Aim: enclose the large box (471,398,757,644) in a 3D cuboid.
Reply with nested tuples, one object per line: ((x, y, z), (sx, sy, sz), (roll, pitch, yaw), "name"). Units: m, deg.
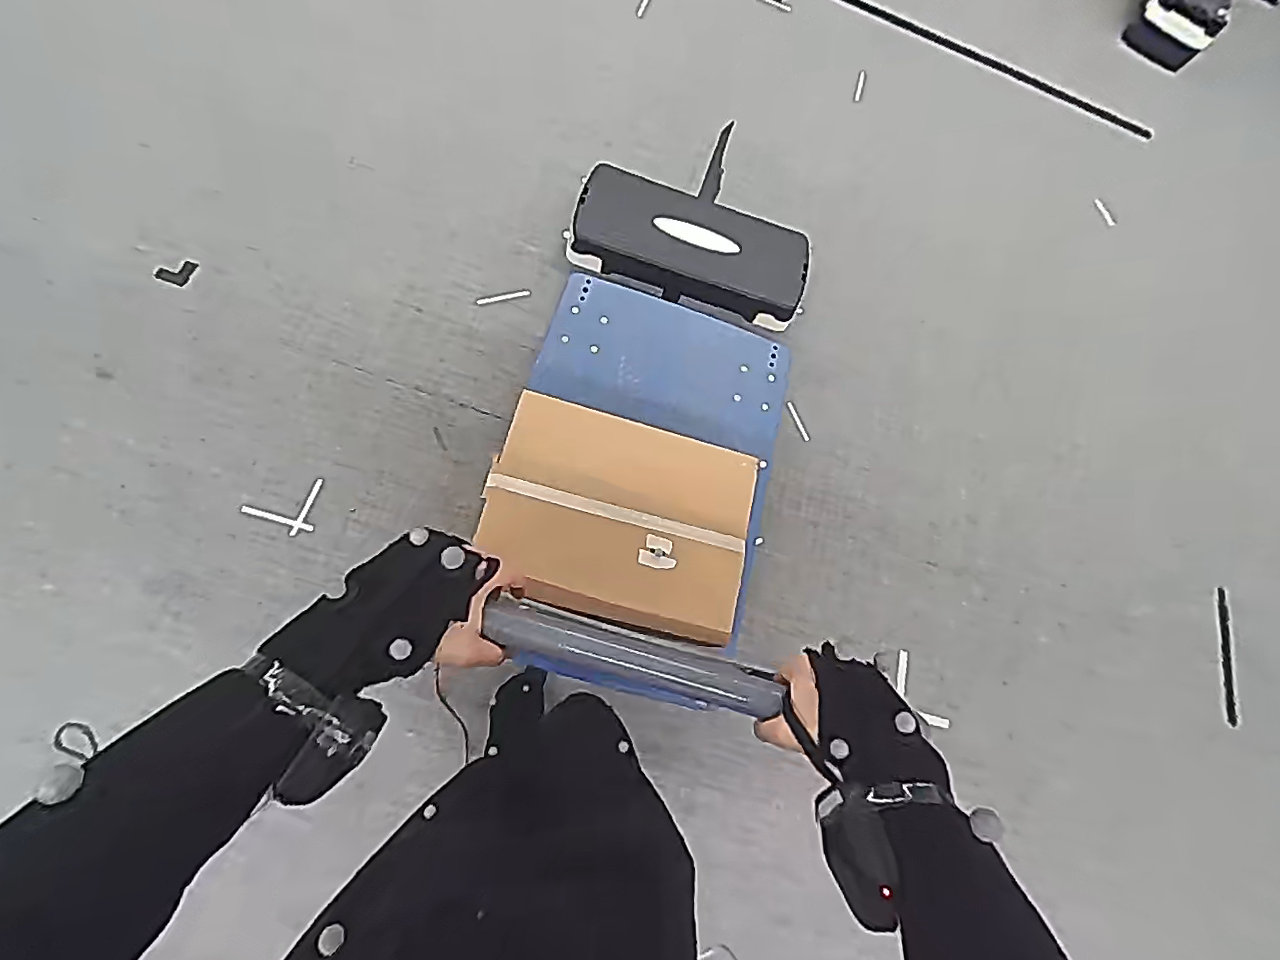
((-0.053, 0.099, 0.978), (0.408, 0.320, 0.320), (16, 72, -7), "large box")
